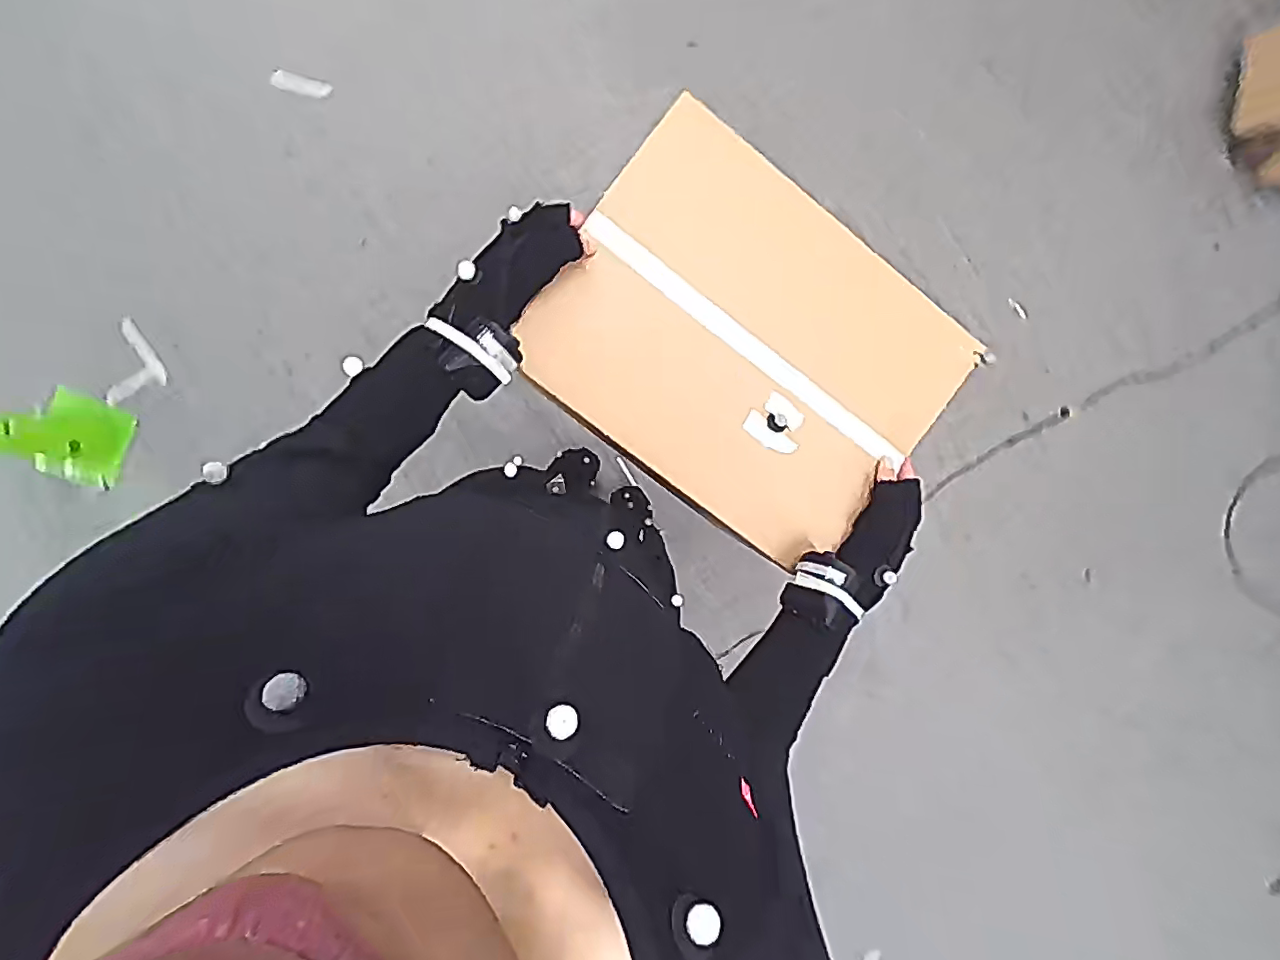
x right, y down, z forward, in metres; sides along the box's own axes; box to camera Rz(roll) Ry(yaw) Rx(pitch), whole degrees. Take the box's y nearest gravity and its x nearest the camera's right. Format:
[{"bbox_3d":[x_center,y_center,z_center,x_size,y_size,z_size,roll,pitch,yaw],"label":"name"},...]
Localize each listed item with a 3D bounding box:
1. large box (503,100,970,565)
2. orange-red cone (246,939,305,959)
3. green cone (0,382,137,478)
[{"bbox_3d":[0.092,-0.152,0.700,0.408,0.320,0.320,36,90,-8],"label":"large box"},{"bbox_3d":[-0.964,1.355,1.279,0.199,0.360,0.198,-34,95,-4],"label":"orange-red cone"},{"bbox_3d":[-1.379,-0.123,1.190,0.202,0.368,0.200,21,89,-4],"label":"green cone"}]
